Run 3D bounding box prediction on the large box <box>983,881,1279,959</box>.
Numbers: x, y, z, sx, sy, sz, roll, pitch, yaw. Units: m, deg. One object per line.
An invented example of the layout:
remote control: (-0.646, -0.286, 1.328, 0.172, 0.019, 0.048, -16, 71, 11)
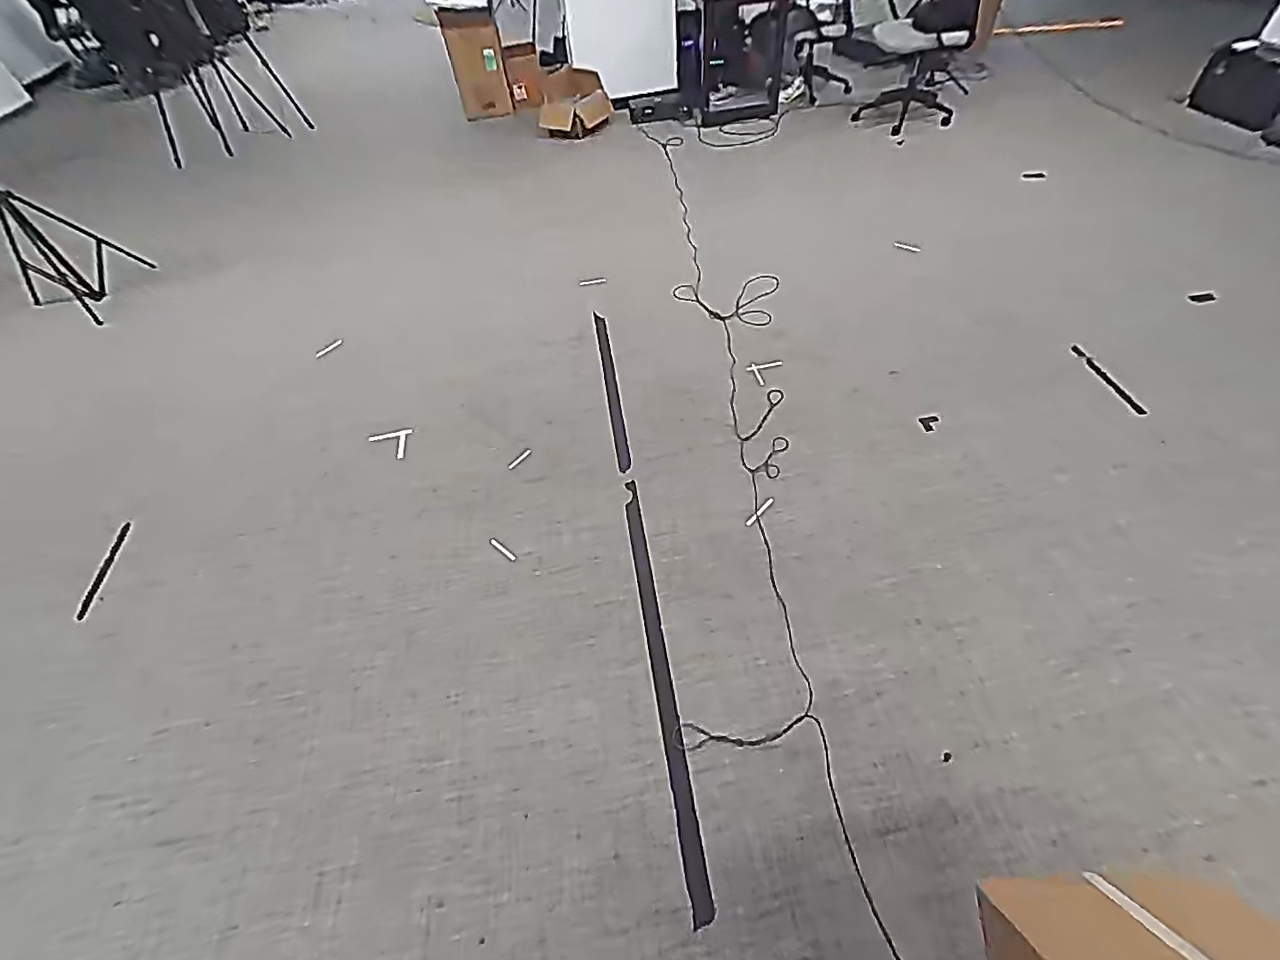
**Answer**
large box: (0.634, 0.697, 0.550, 0.320, 0.408, 0.320, -5, 83, 3)
